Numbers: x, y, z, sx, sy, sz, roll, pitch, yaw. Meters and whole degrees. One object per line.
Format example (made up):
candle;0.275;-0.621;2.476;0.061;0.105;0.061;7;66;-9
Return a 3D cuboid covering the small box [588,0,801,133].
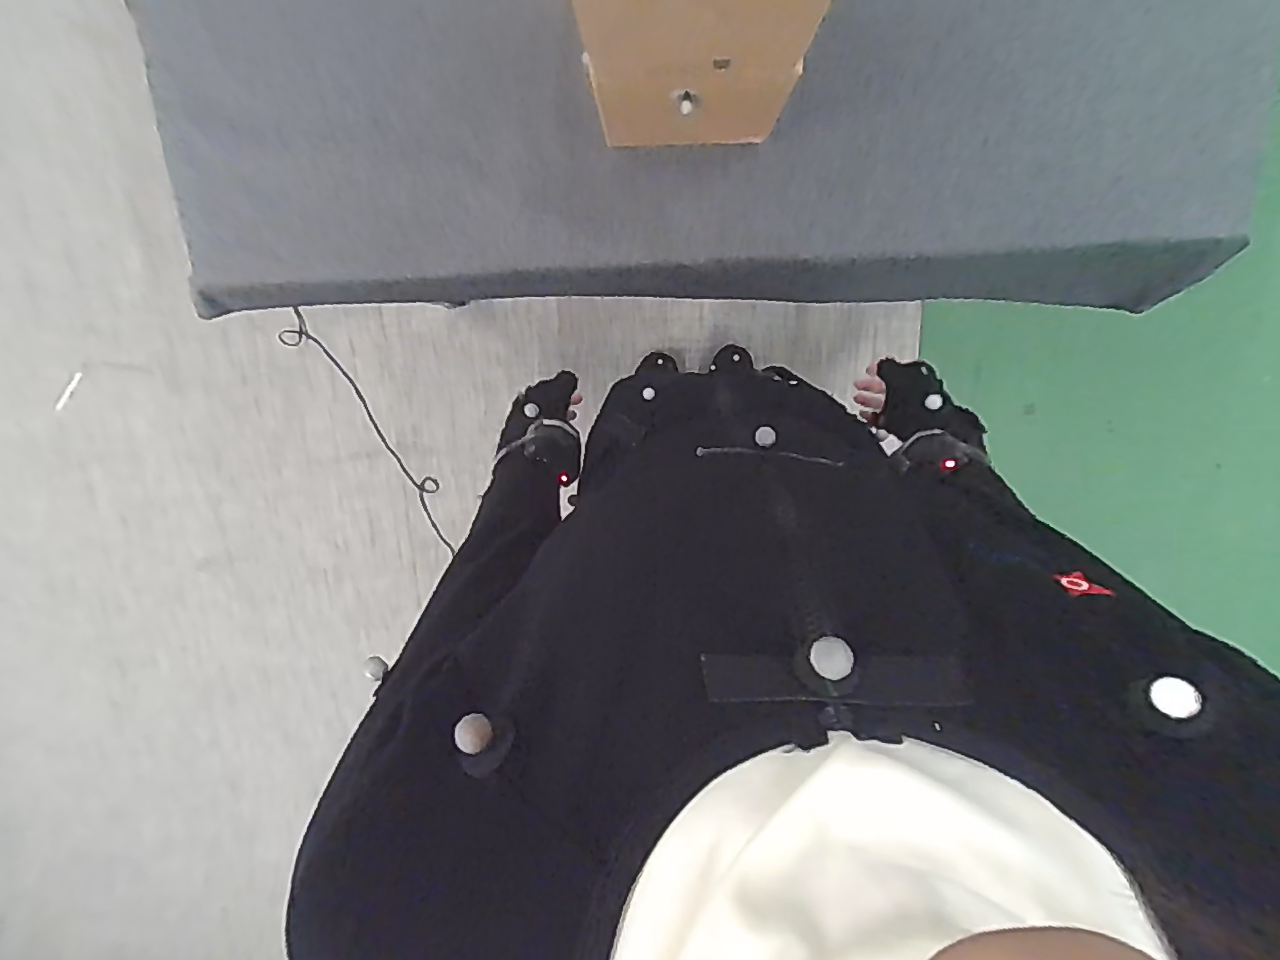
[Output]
small box;0.048;-0.443;0.502;0.179;0.176;0.168;0;105;2

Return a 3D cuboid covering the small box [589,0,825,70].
small box;0.043;-0.404;0.346;0.168;0.176;0.179;-1;106;2
